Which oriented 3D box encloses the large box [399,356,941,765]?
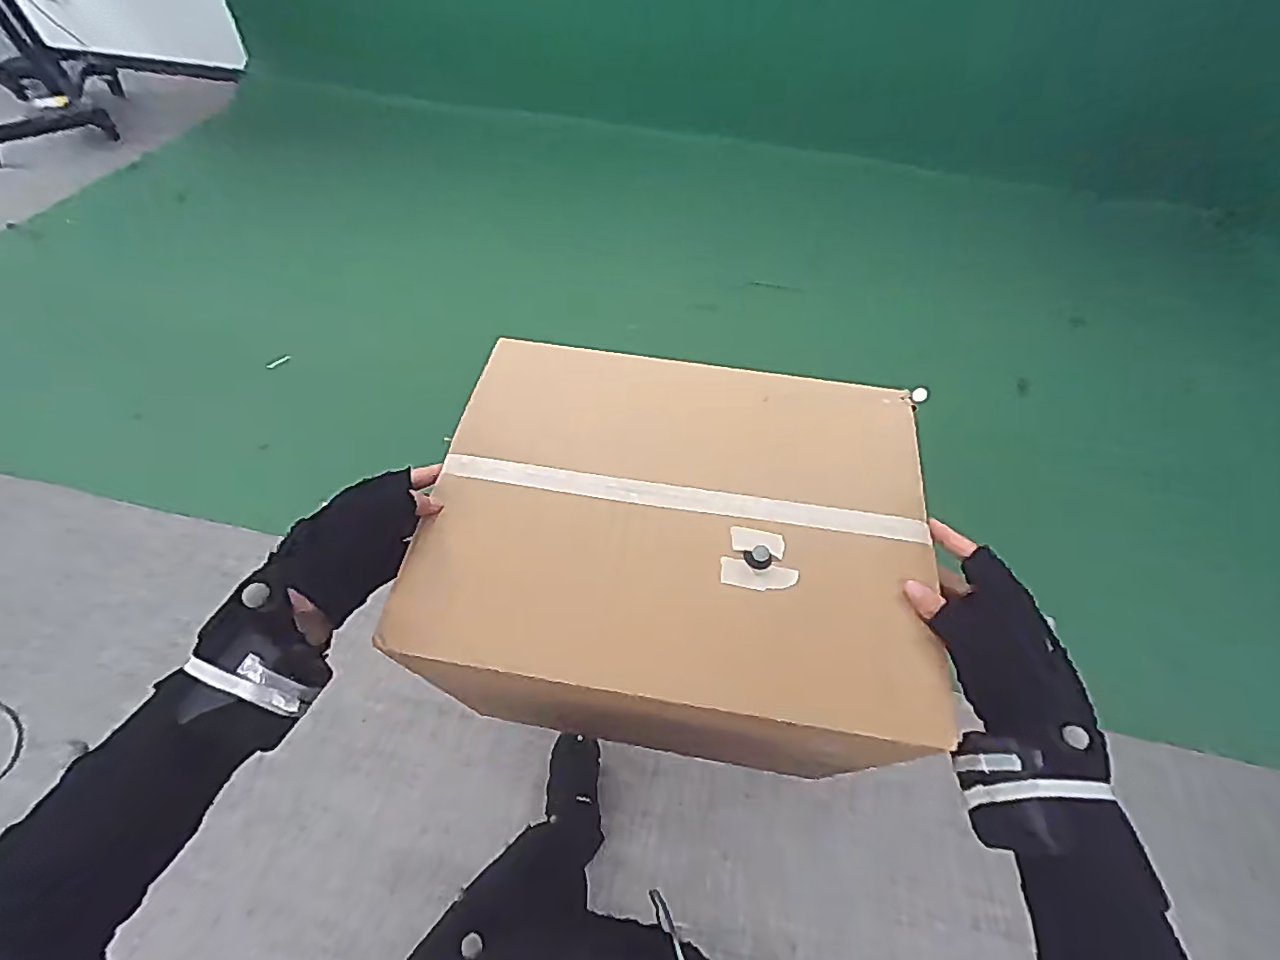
[{"bbox_3d":[0.033,0.100,0.592,0.408,0.320,0.320,8,59,4],"label":"large box"}]
